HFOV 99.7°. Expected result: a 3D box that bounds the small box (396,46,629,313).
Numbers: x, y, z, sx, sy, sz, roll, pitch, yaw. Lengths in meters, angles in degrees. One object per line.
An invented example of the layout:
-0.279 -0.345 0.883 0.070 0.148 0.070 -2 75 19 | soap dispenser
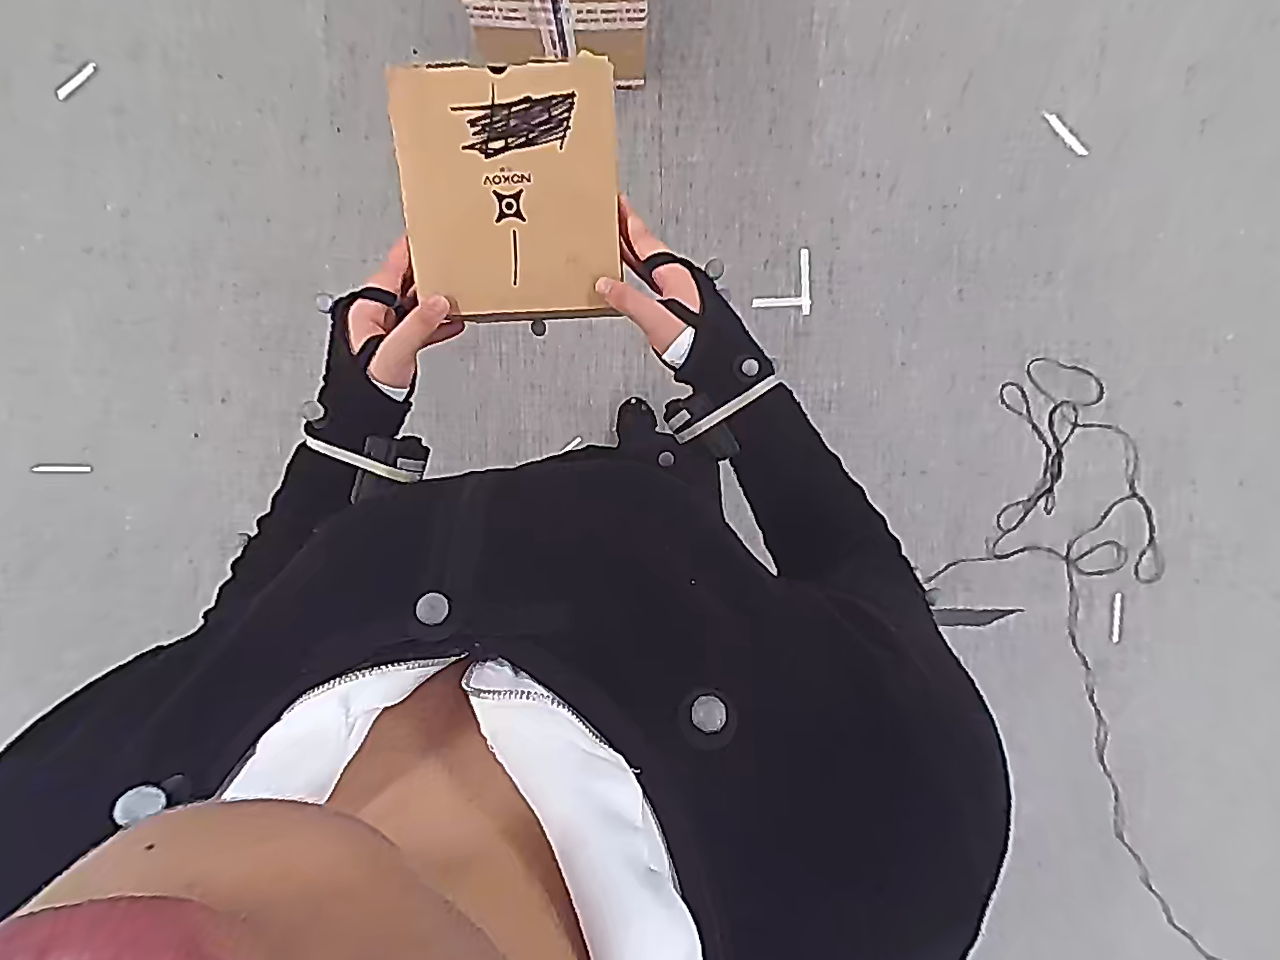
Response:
-0.096 -0.249 0.490 0.168 0.176 0.179 -3 105 0 | small box
